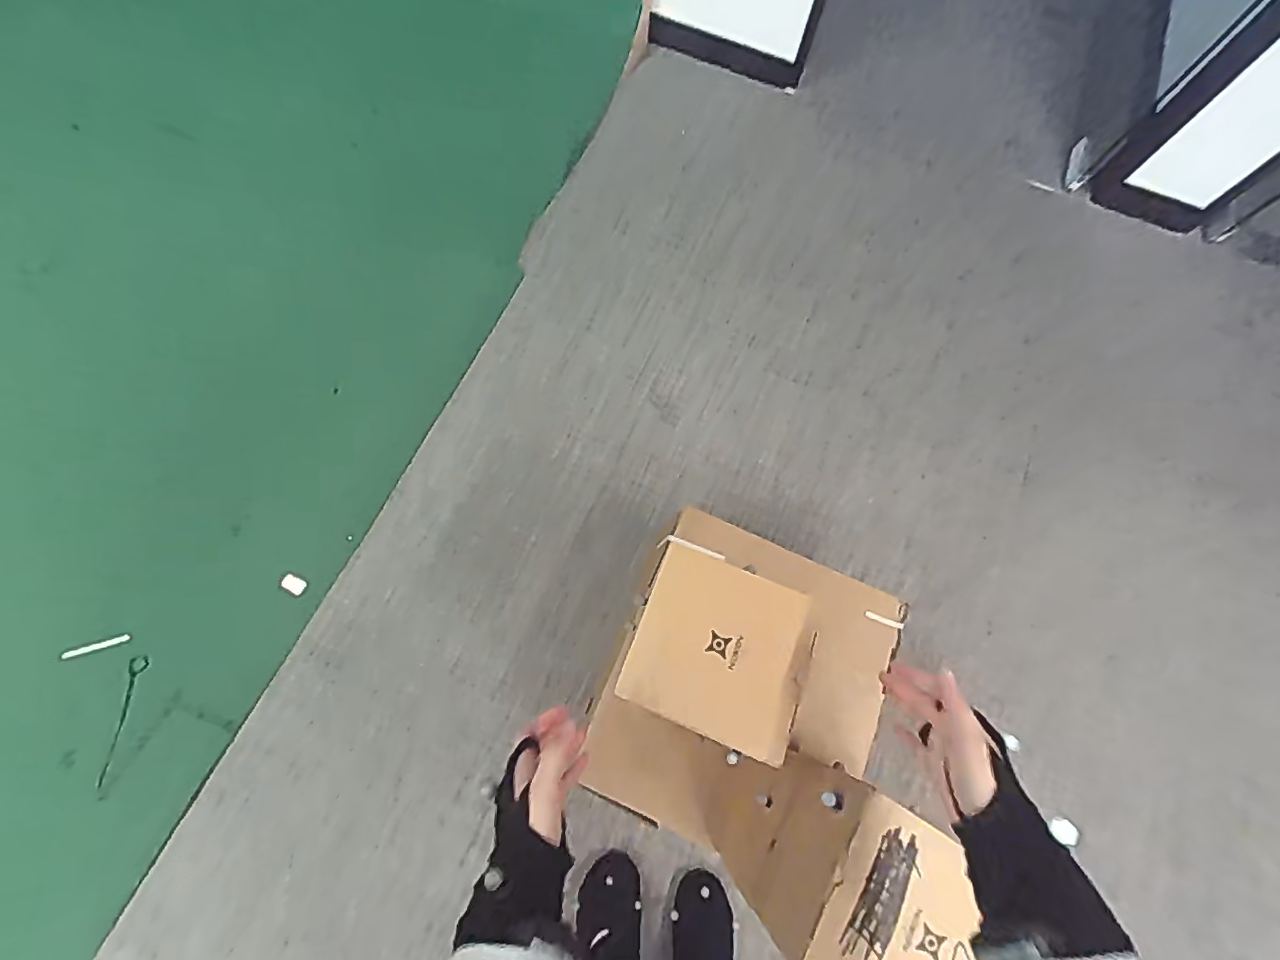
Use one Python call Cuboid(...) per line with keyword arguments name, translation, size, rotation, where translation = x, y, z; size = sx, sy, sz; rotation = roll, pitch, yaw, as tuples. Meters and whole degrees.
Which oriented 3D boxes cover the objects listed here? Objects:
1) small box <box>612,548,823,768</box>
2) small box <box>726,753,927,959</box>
Cuboid(name="small box", translation=(0.076, 0.201, 0.616), size=(0.179, 0.176, 0.168), rotation=(22, 69, 4))
Cuboid(name="small box", translation=(0.227, 0.476, 0.699), size=(0.168, 0.176, 0.179), rotation=(27, 71, 5))
